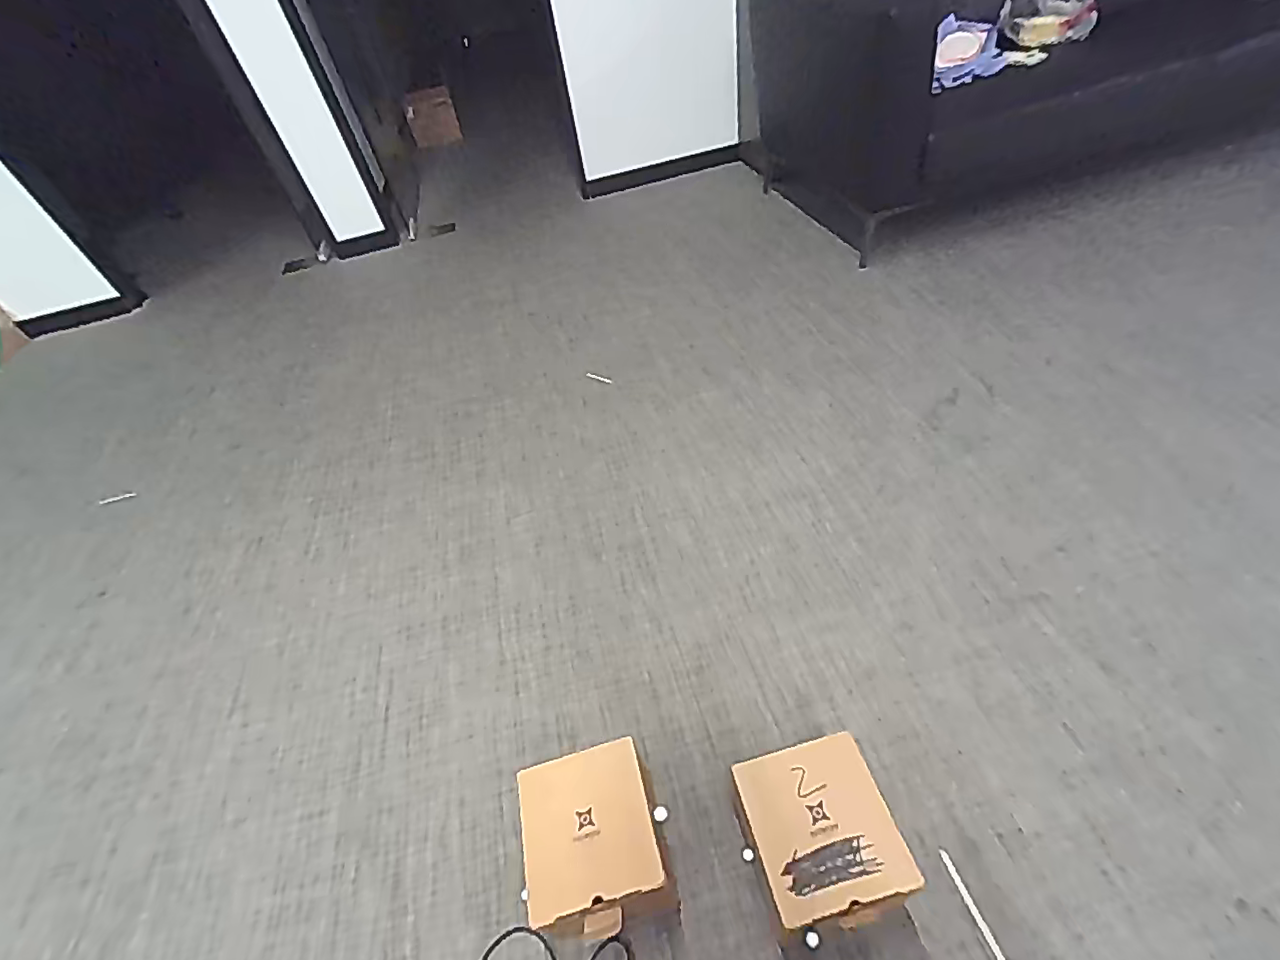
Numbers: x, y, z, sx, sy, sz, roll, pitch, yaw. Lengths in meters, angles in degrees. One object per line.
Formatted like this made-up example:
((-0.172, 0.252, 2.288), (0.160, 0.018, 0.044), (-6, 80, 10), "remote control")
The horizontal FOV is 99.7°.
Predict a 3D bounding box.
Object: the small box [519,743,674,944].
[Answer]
((-0.059, 0.499, 0.743), (0.168, 0.176, 0.179), (-16, 46, -4), "small box")
